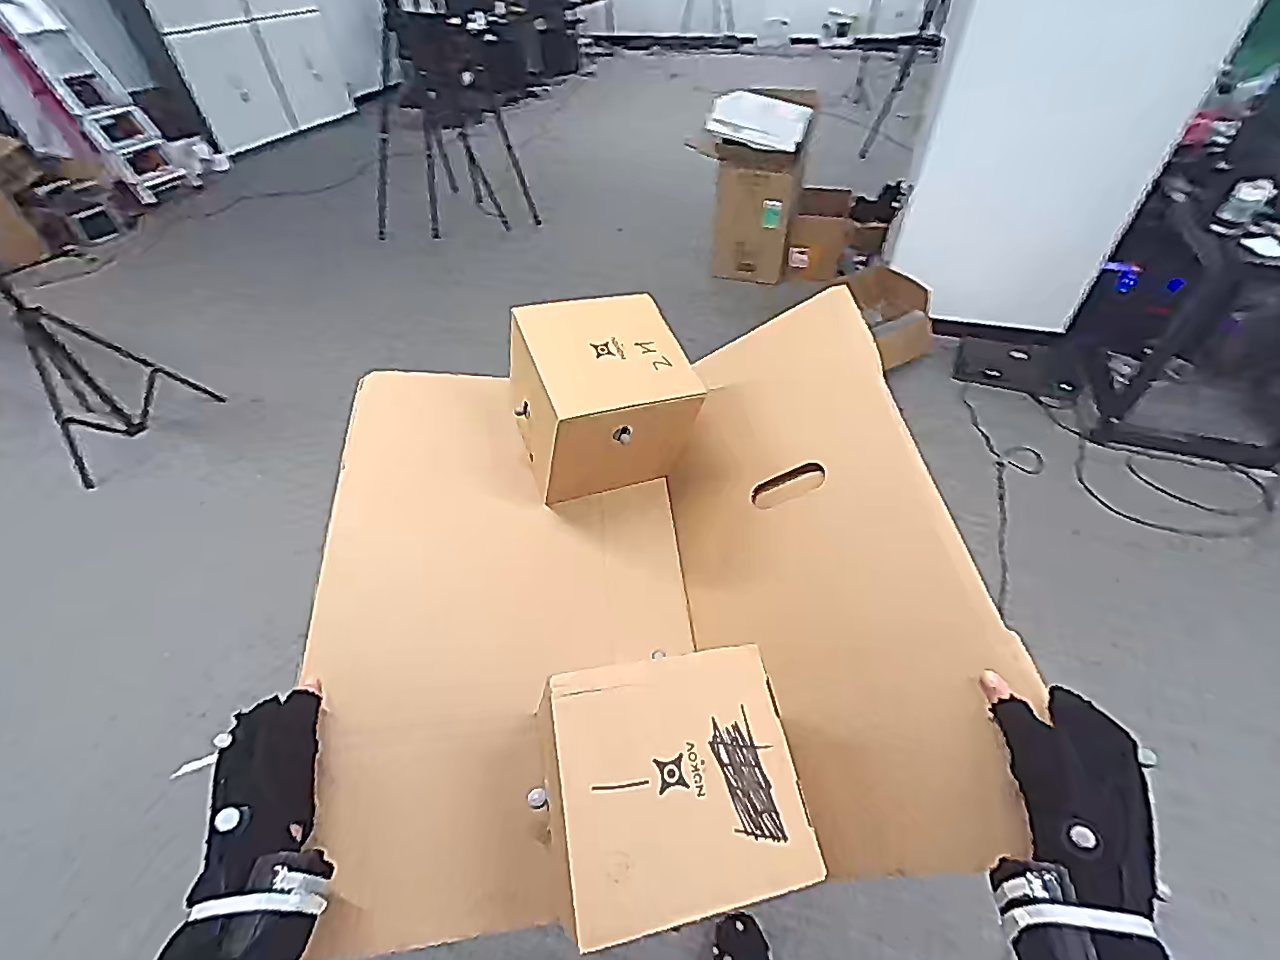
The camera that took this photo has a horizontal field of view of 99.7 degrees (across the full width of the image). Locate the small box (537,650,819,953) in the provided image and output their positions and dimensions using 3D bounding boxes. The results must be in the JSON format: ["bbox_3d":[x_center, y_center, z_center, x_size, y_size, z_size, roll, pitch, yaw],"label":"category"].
[{"bbox_3d":[0.012,0.256,0.458,0.179,0.176,0.168,-4,59,-16],"label":"small box"}]

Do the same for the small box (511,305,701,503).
[{"bbox_3d":[-0.055,-0.090,0.668,0.179,0.176,0.168,-13,62,-23],"label":"small box"}]
